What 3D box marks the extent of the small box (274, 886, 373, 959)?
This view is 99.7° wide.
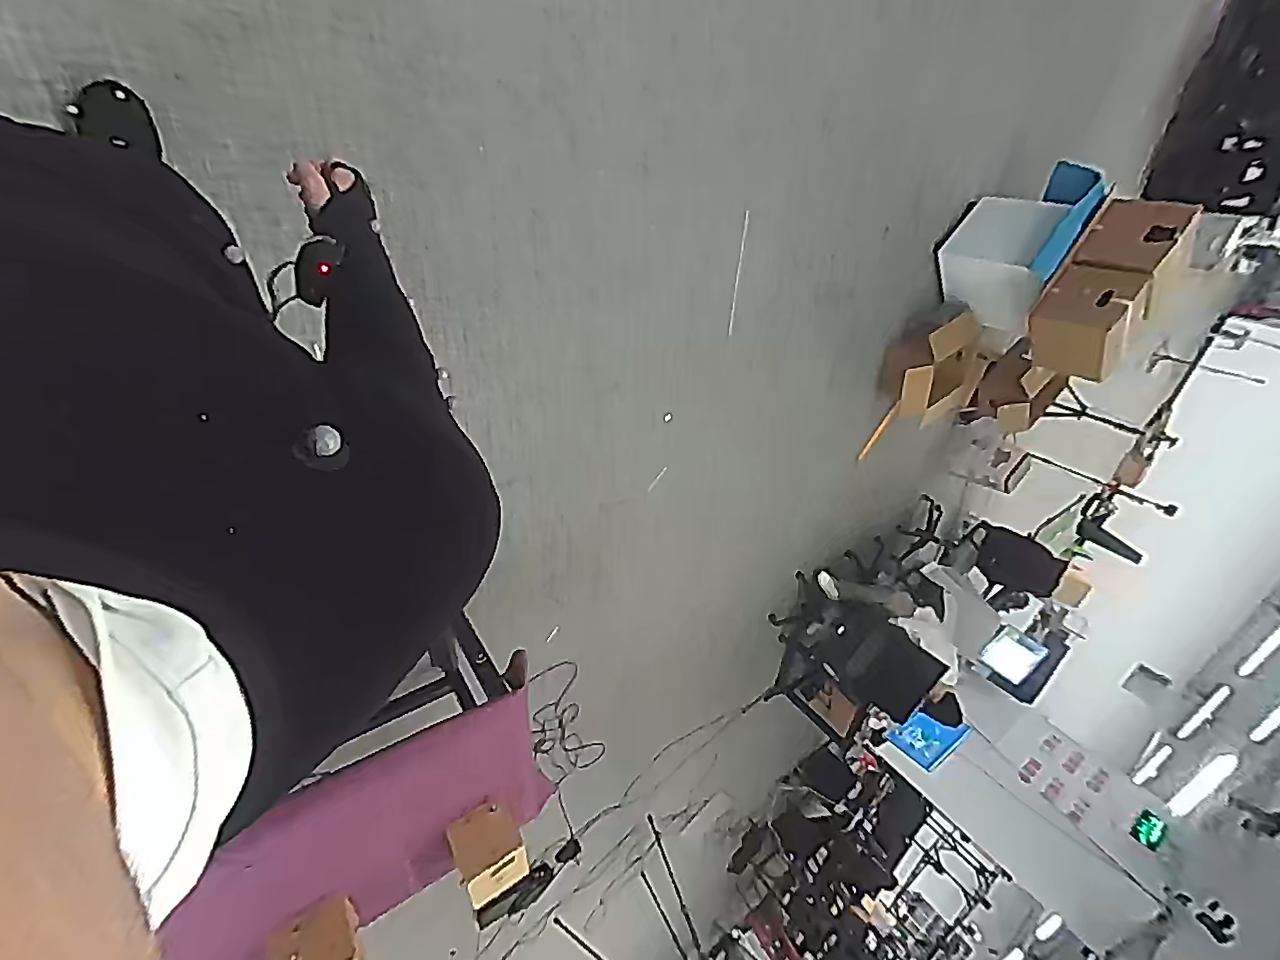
[{"bbox_3d":[-0.773,1.149,1.325,0.168,0.176,0.179,-18,128,-30],"label":"small box"}]

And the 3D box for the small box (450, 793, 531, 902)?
[{"bbox_3d":[-0.425,1.031,1.535,0.168,0.176,0.179,-19,129,-29],"label":"small box"}]
